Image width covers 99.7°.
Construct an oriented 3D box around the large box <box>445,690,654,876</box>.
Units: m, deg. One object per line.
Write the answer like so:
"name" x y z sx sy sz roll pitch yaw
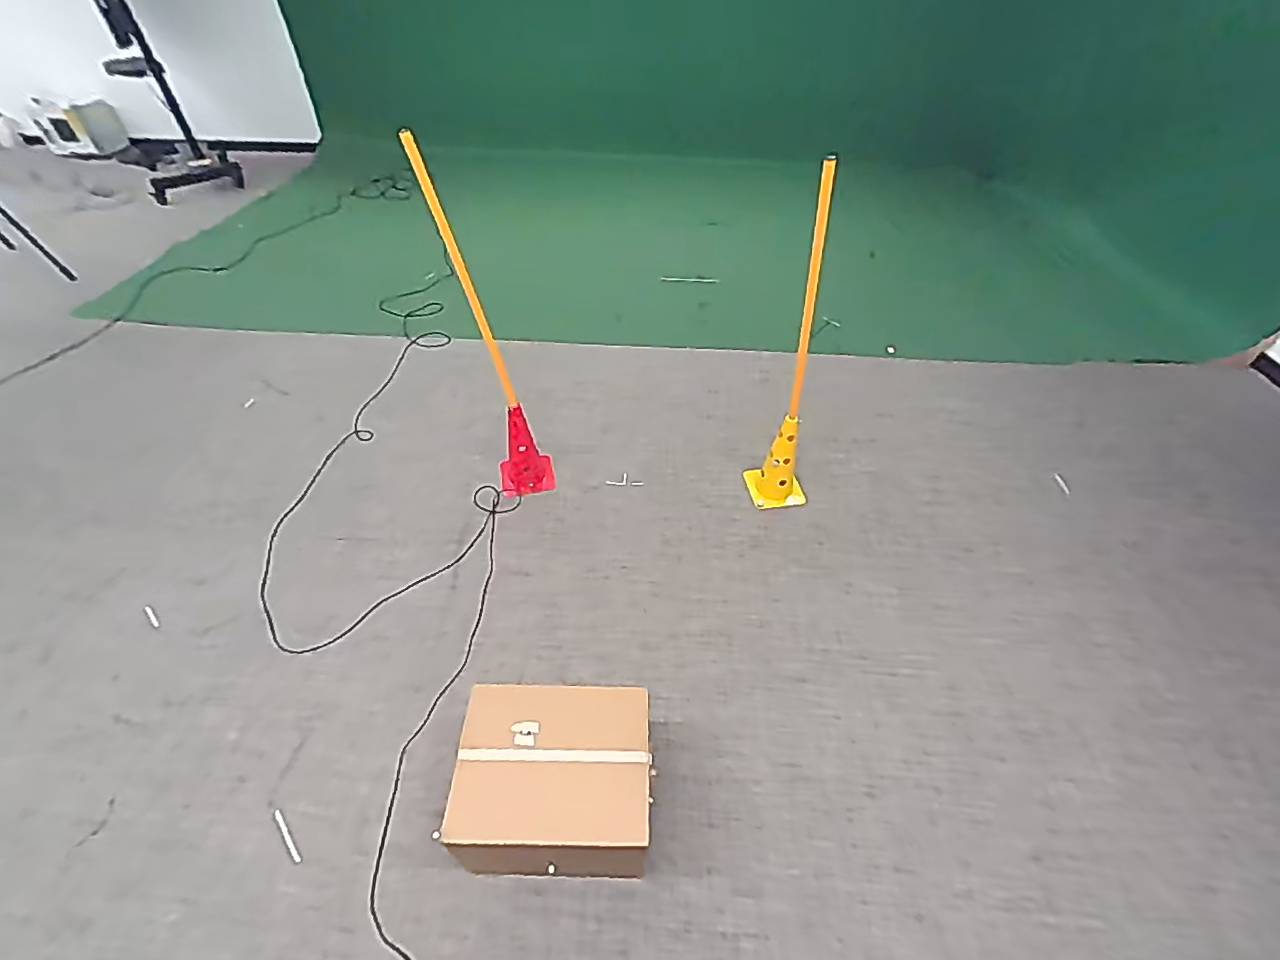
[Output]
"large box" -0.175 0.699 1.242 0.408 0.320 0.320 1 44 0
